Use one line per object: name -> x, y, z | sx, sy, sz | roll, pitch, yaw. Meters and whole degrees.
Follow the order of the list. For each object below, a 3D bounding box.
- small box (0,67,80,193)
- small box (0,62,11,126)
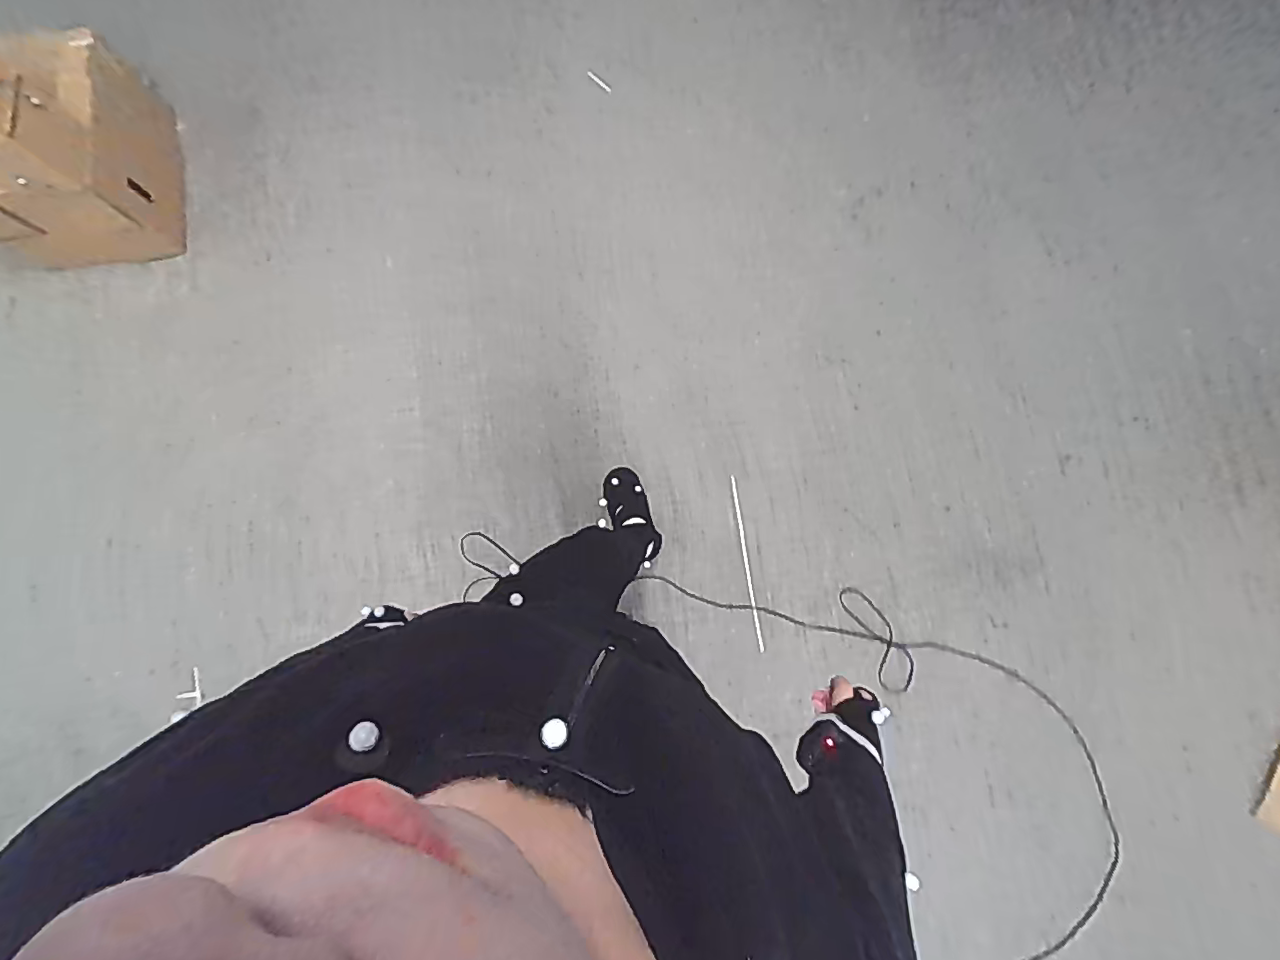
small box -> -1.442, -0.791, 1.233 | 0.168, 0.176, 0.179 | -6, 82, -2
small box -> -1.437, -0.819, 1.072 | 0.179, 0.176, 0.168 | -5, 81, -3
